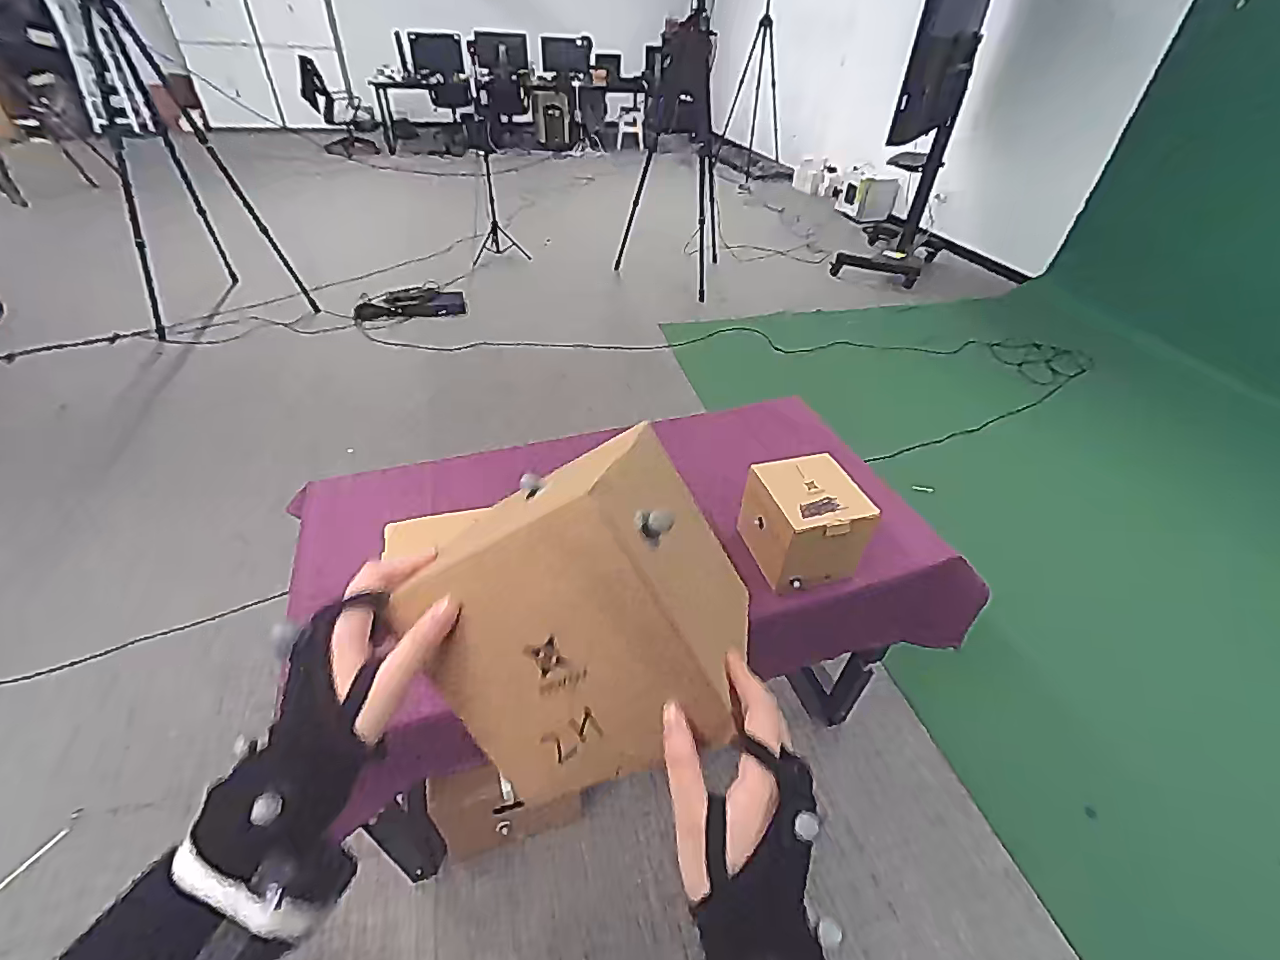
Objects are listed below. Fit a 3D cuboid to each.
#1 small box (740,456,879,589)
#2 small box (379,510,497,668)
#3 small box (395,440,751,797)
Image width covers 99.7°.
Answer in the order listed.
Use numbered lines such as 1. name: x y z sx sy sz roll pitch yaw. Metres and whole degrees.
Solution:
1. small box: 0.302 0.083 1.001 0.168 0.176 0.179 -9 41 -13
2. small box: -0.294 0.175 0.861 0.179 0.176 0.168 -10 43 -13
3. small box: -0.030 0.084 0.402 0.168 0.179 0.176 -27 10 19
